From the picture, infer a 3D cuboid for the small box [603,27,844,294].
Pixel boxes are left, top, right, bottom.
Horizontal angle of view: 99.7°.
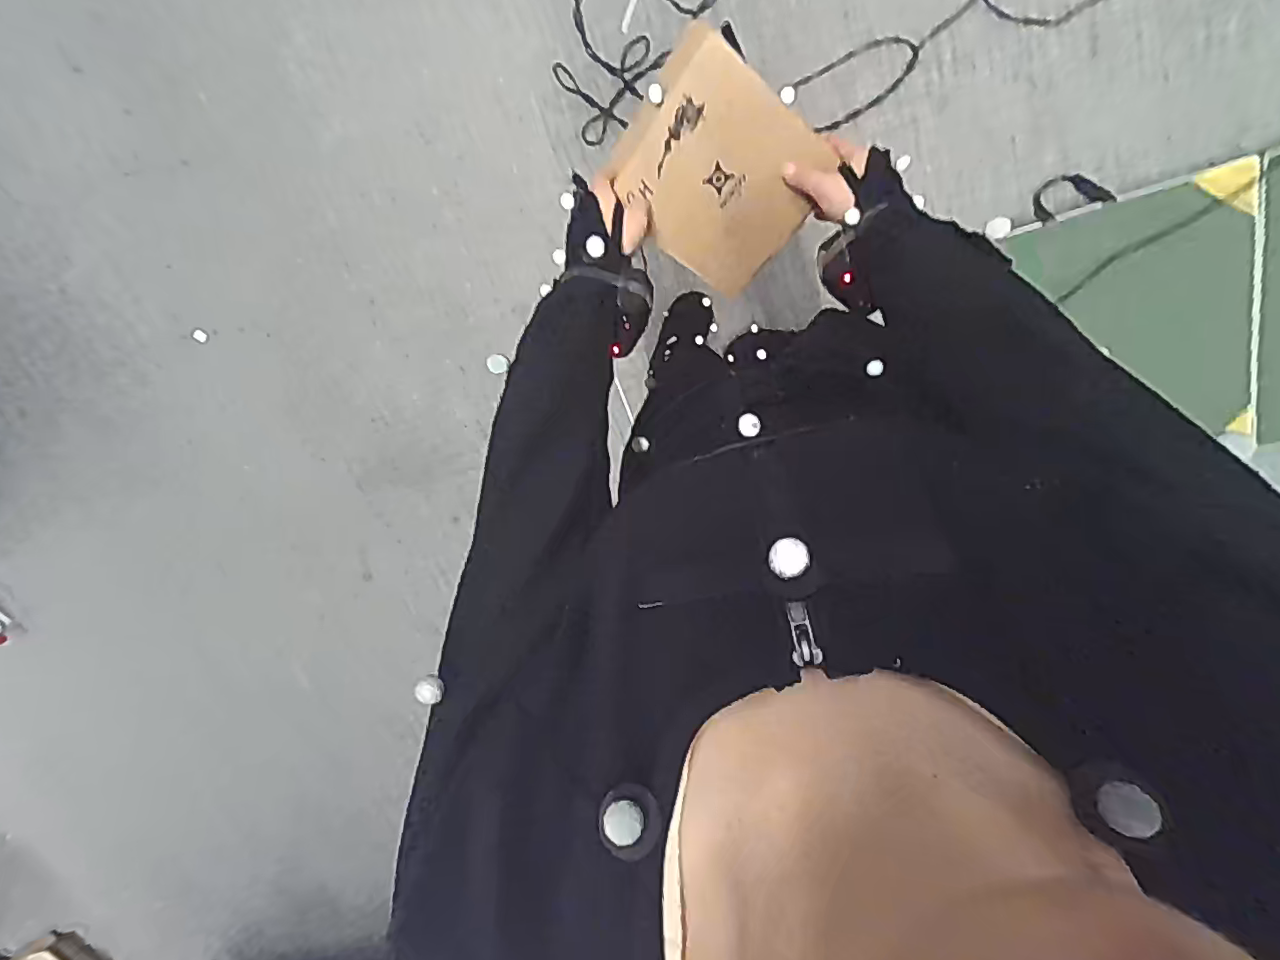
[{"bbox_3d":[0.079,-0.343,0.579,0.179,0.176,0.168,29,125,-24],"label":"small box"}]
